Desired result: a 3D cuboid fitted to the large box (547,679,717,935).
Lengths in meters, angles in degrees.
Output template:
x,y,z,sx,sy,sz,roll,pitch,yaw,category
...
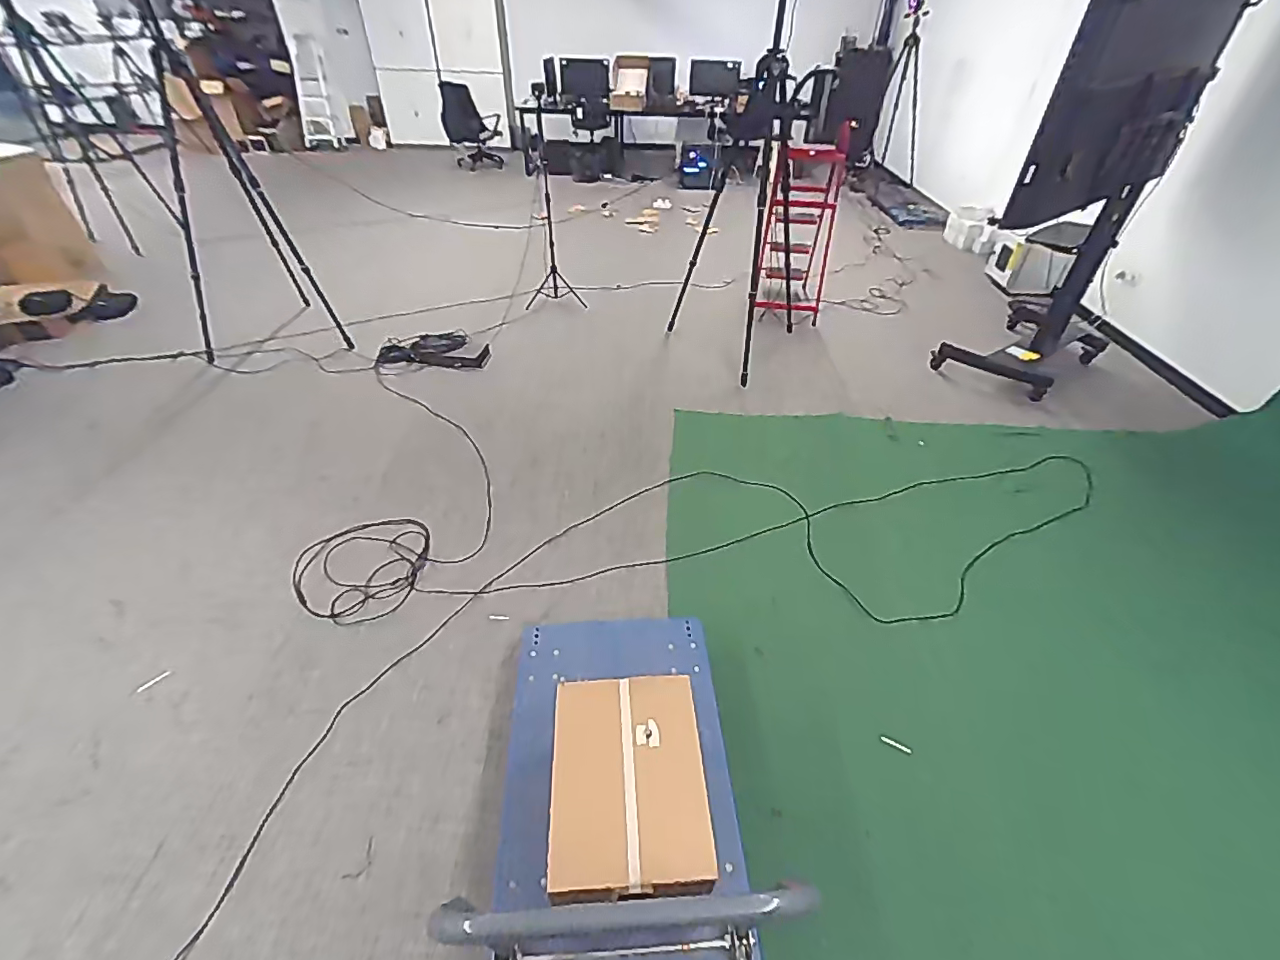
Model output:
x,y,z,sx,sy,sz,roll,pitch,yaw,category
-0.030,0.718,1.211,0.320,0.320,0.408,-1,39,-4,large box
